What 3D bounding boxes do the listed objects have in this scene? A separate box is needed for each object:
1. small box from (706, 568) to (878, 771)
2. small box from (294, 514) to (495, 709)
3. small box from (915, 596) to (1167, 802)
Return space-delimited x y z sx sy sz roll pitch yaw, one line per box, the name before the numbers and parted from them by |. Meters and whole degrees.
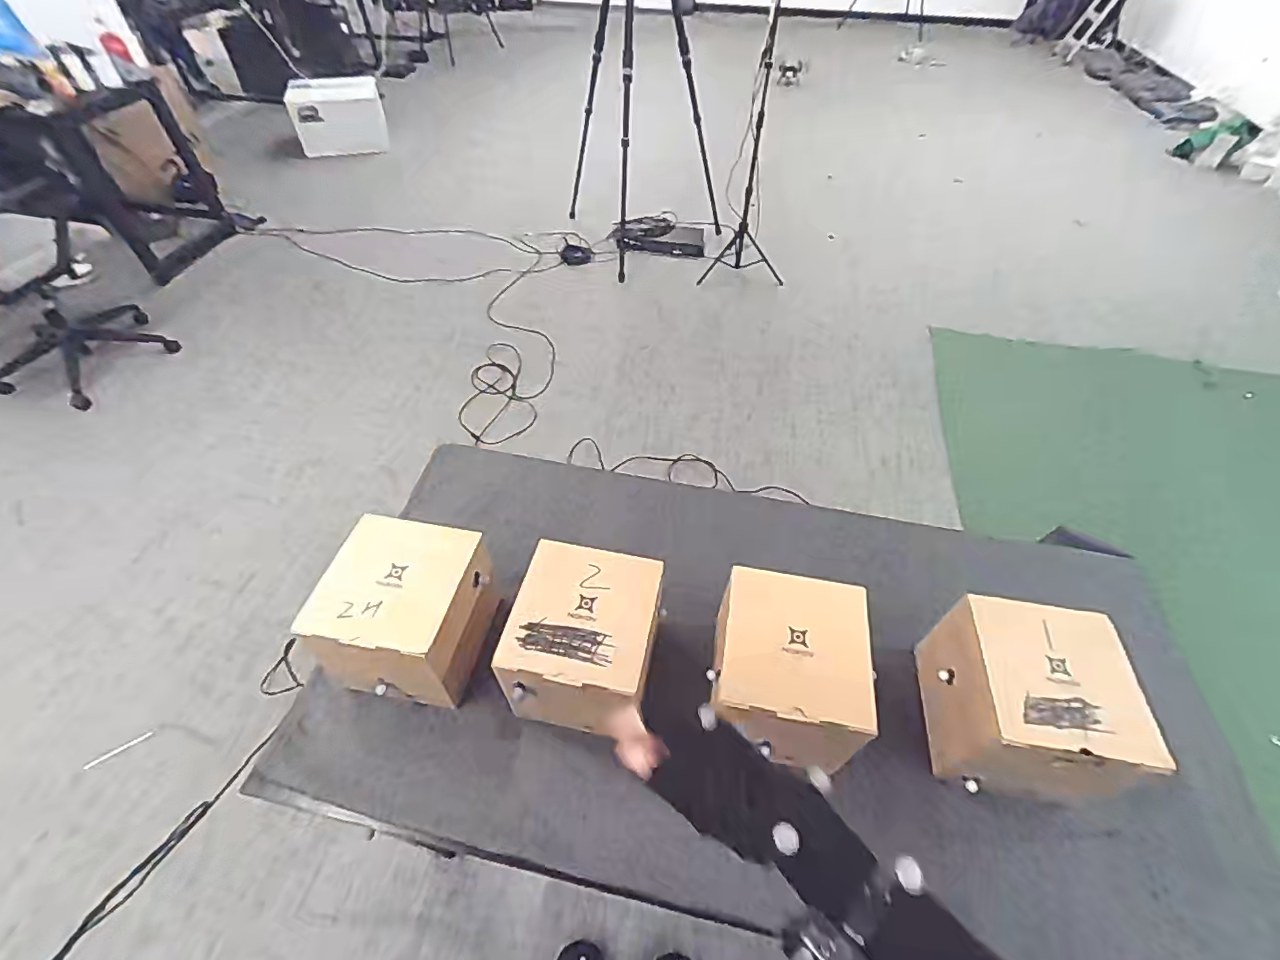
small box | 0.180 0.240 0.683 0.168 0.176 0.179 9 51 5
small box | -0.302 0.174 0.716 0.168 0.176 0.179 9 48 5
small box | 0.461 0.270 0.661 0.168 0.176 0.179 9 49 6
